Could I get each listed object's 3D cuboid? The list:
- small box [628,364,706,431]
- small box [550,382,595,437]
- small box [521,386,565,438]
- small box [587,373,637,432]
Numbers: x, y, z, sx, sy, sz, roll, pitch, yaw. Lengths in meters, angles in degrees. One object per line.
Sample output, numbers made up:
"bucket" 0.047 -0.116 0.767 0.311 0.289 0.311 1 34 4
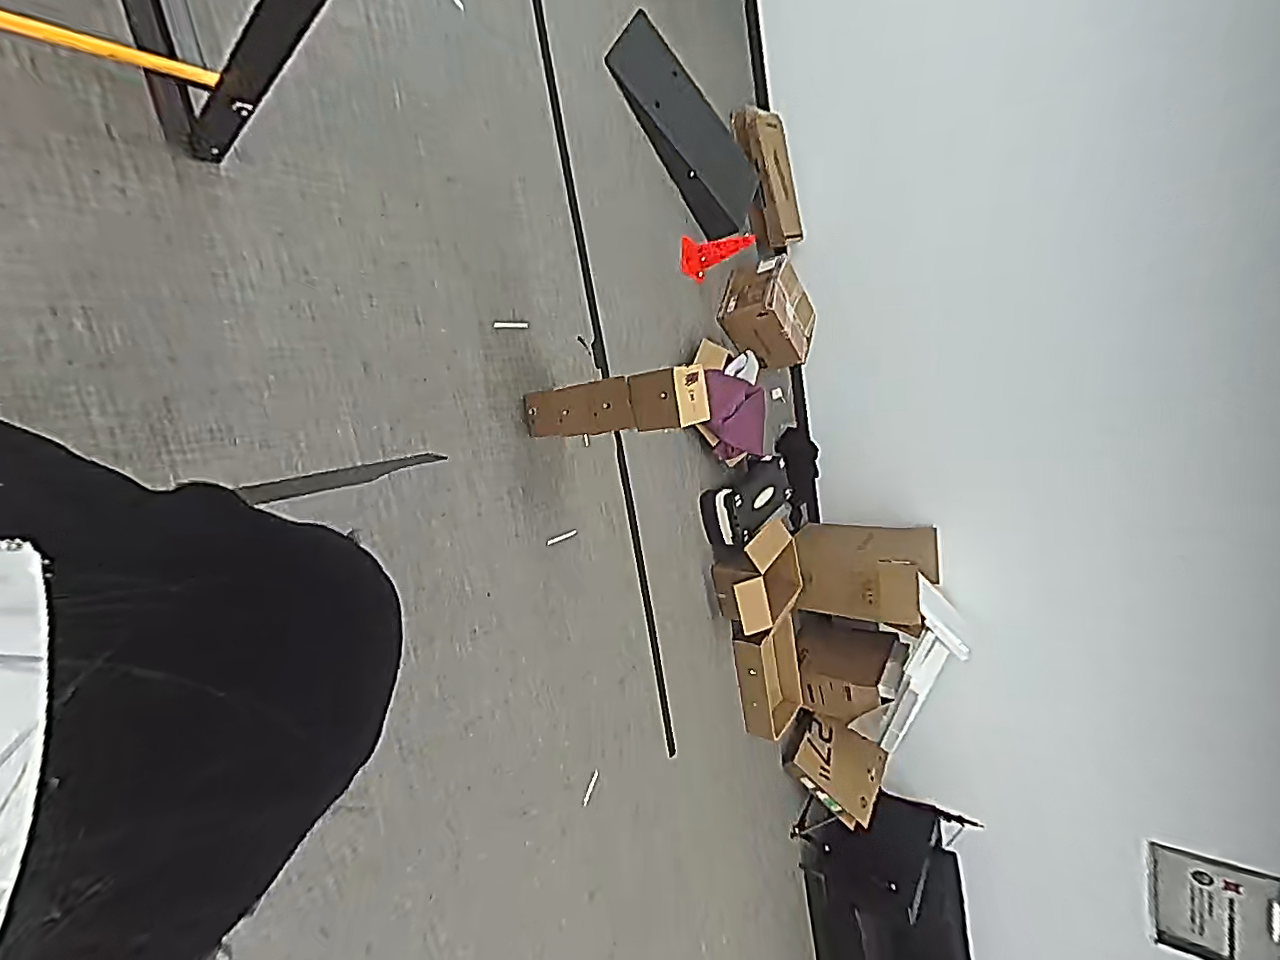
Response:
"small box" 0.081 -0.252 1.656 0.168 0.176 0.179 -21 104 -50
"small box" -0.181 -0.247 1.856 0.179 0.176 0.168 -19 102 -50
"small box" -0.305 -0.251 1.966 0.179 0.176 0.168 -20 103 -48
"small box" -0.055 -0.252 1.751 0.179 0.176 0.168 -18 102 -49
